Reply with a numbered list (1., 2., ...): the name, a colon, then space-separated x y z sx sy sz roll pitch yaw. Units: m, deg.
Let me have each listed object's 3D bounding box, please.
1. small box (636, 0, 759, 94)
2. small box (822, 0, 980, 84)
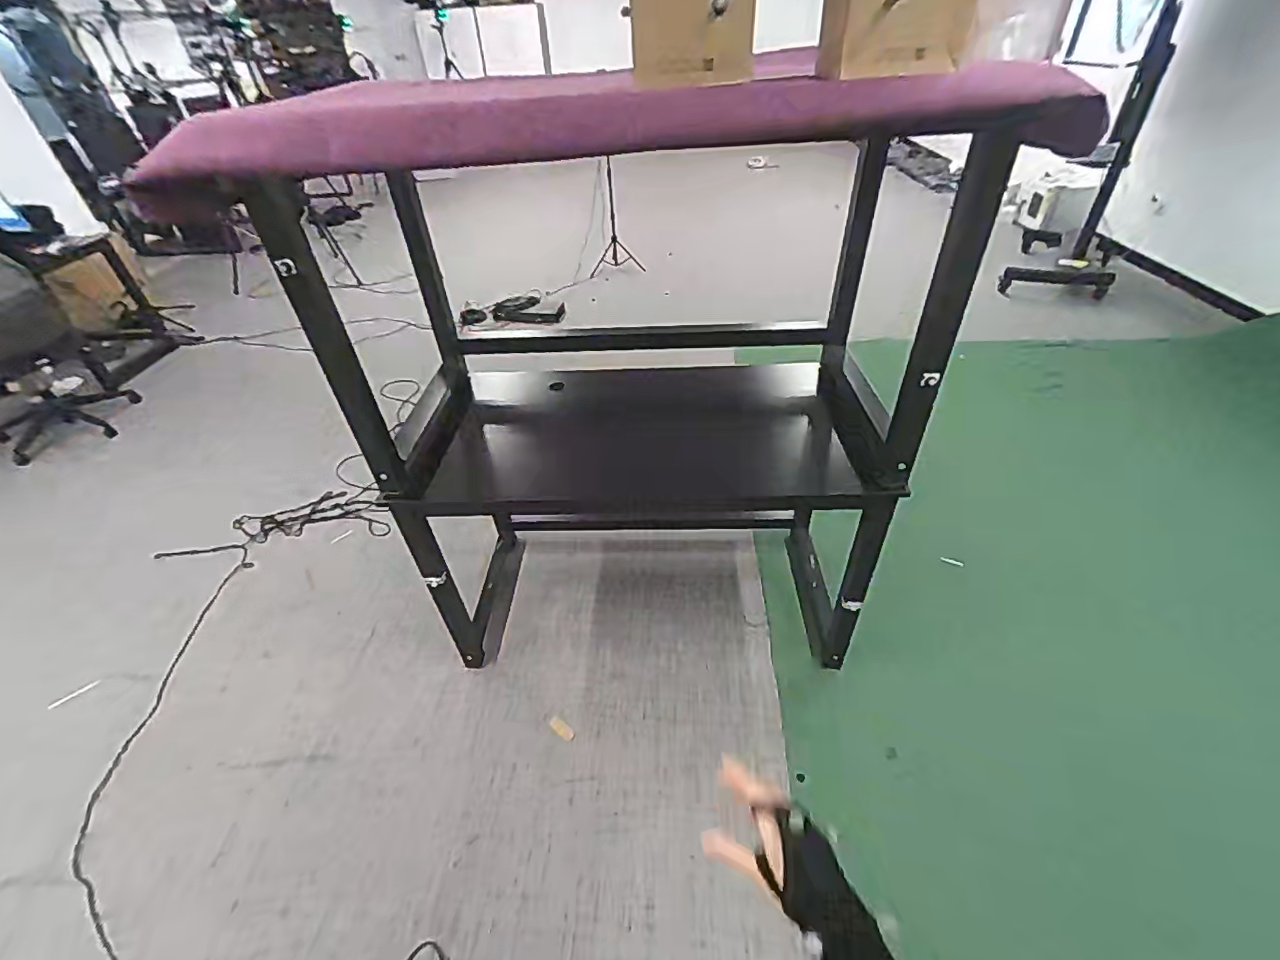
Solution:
1. small box: 0.082 -0.665 0.781 0.168 0.176 0.179 0 38 4
2. small box: 0.363 -0.664 0.756 0.168 0.176 0.179 0 39 5
